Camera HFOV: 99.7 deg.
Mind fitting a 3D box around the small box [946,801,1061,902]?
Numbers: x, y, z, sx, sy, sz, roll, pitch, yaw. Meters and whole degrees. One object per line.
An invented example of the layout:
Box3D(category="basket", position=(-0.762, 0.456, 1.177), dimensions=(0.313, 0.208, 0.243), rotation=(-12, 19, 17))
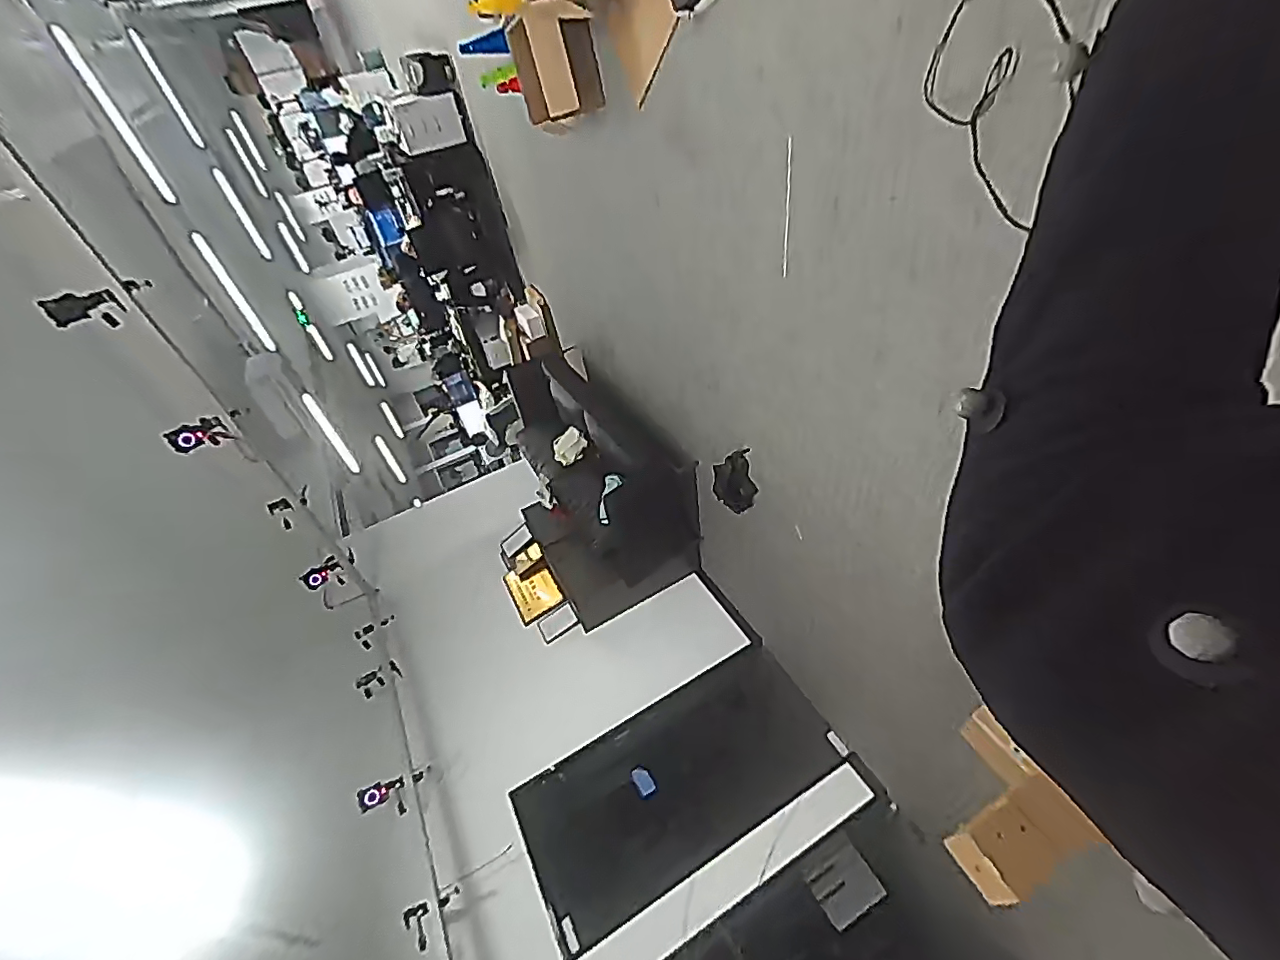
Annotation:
Box3D(category="small box", position=(0.980, 0.999, 1.459), dimensions=(0.168, 0.176, 0.179), rotation=(56, 164, 37))
